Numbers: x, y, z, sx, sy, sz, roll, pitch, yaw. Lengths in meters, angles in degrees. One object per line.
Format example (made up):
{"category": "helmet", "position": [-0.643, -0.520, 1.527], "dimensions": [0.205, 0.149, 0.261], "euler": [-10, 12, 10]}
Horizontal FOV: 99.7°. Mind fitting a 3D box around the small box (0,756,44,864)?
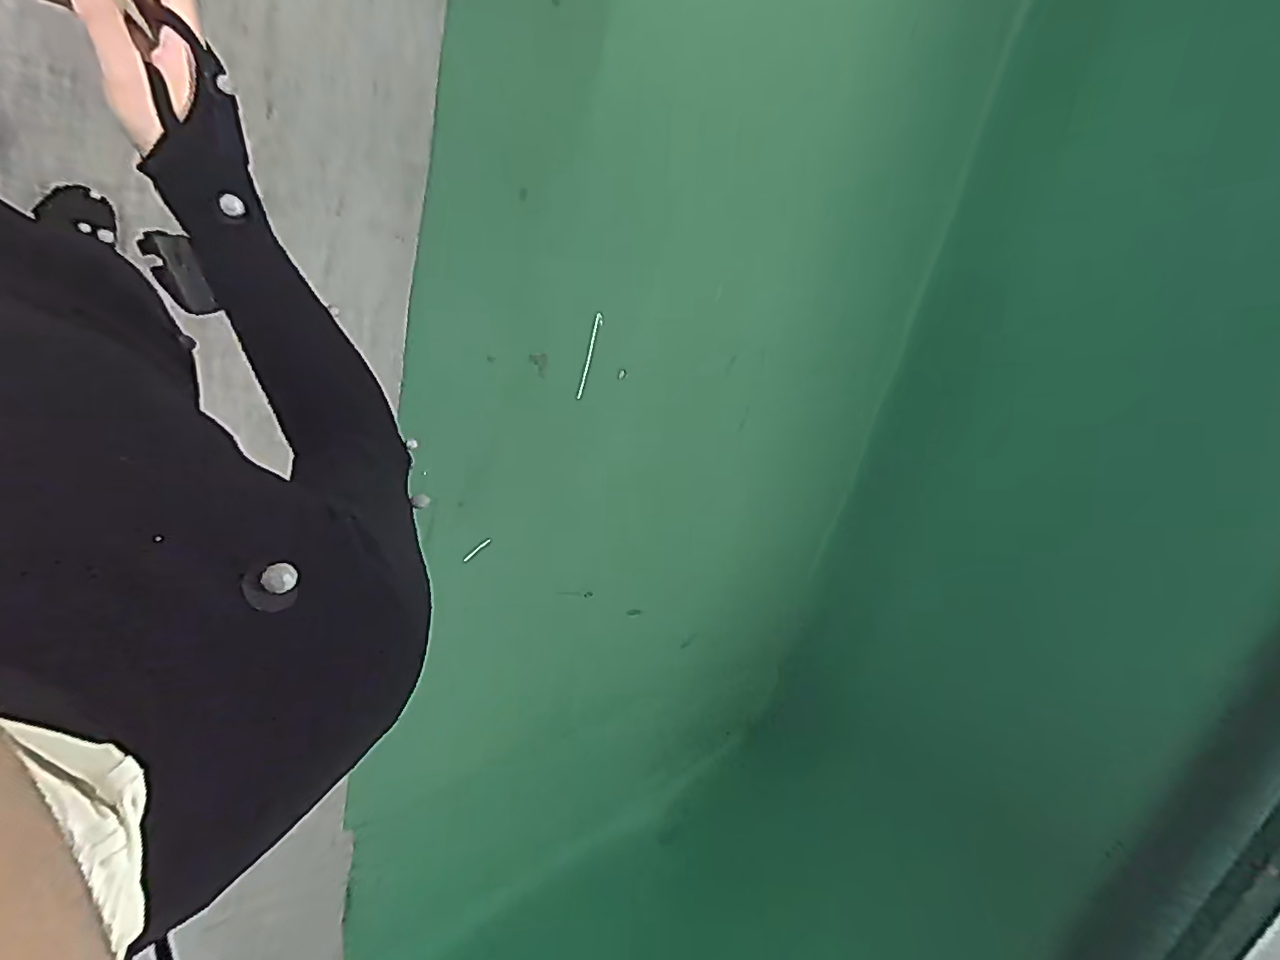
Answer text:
{"category": "small box", "position": [-1.542, 0.787, 1.277], "dimensions": [0.168, 0.176, 0.179], "euler": [2, 111, -44]}
